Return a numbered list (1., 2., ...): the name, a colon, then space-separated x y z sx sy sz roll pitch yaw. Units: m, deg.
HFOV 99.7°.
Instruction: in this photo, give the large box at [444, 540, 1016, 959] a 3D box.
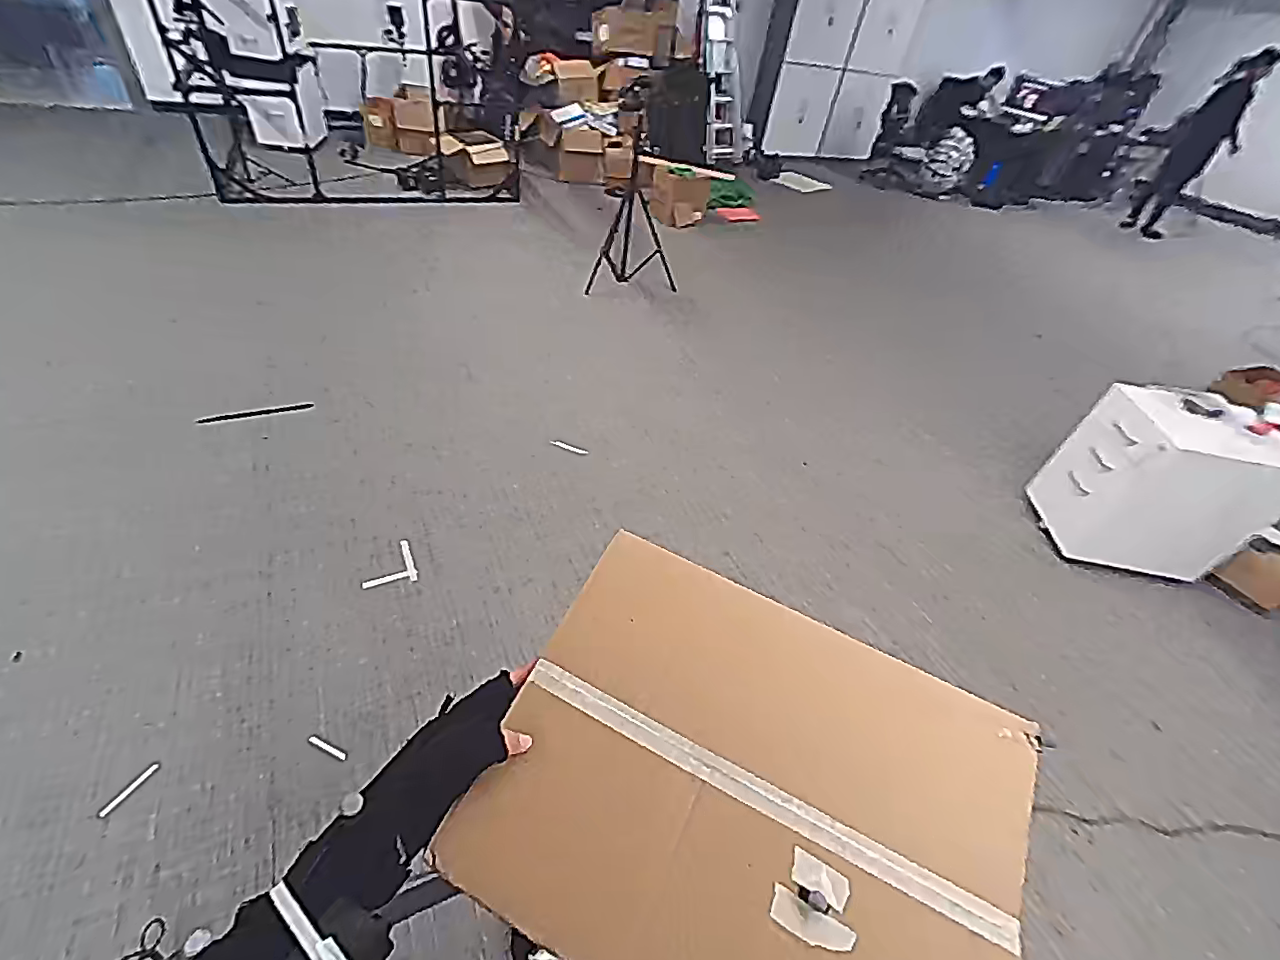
1. large box: 0.084 0.329 0.573 0.408 0.320 0.320 24 61 13
